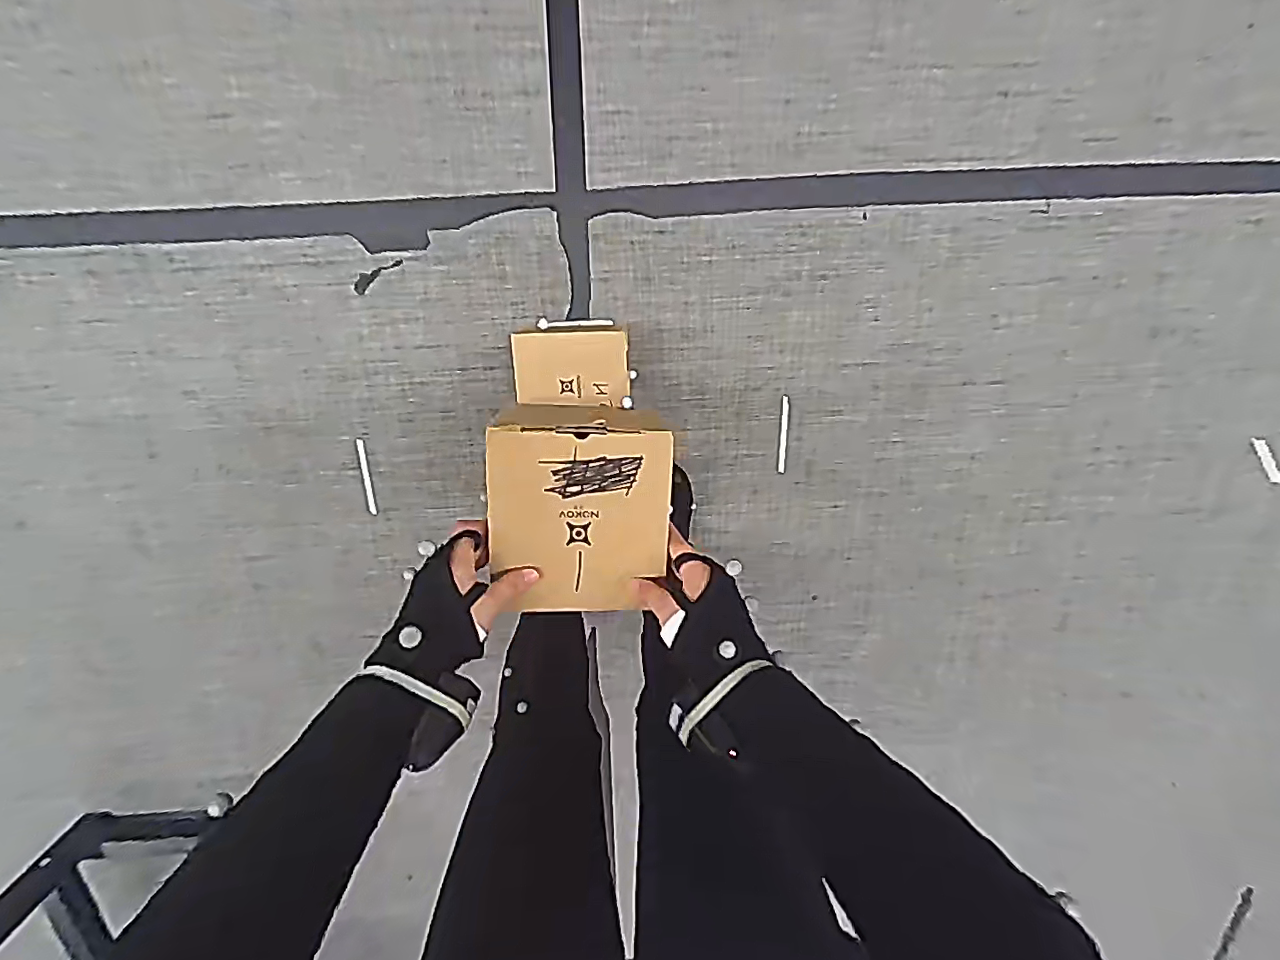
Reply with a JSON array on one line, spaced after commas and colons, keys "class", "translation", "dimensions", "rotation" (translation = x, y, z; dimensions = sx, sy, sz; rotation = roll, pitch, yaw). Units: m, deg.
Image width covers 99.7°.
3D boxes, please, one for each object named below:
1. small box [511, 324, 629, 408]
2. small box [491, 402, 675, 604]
[{"class": "small box", "translation": [-0.108, -0.171, 0.908], "dimensions": [0.179, 0.176, 0.168], "rotation": [-2, 110, -3]}, {"class": "small box", "translation": [-0.063, 0.014, 0.575], "dimensions": [0.168, 0.176, 0.179], "rotation": [2, 106, -7]}]
